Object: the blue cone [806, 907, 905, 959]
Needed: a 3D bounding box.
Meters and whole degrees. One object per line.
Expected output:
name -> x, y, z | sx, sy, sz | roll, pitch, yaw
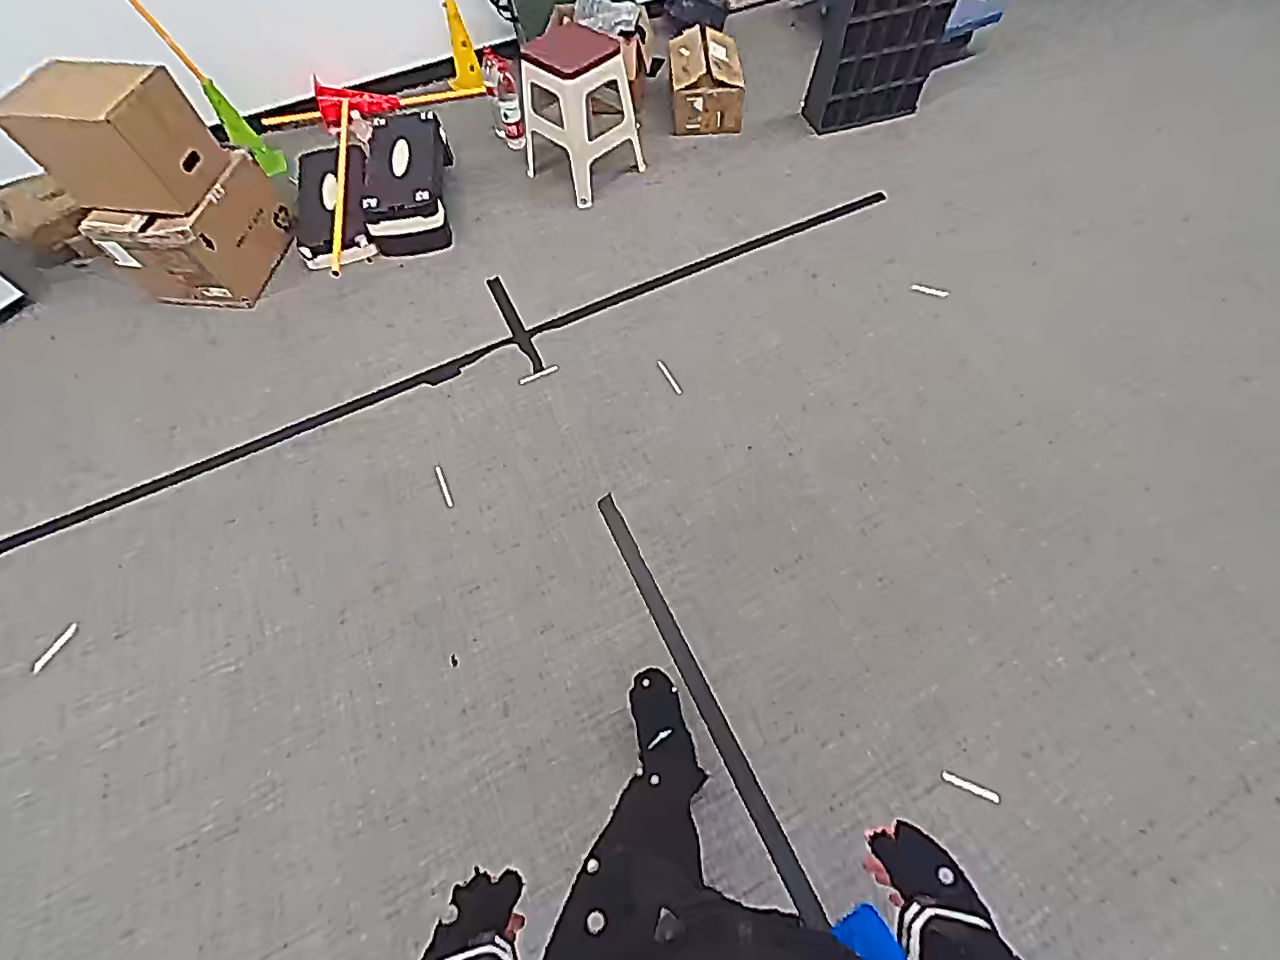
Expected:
blue cone -> 0.437, 0.899, 0.909 | 0.192, 0.380, 0.193 | -27, 63, -13
